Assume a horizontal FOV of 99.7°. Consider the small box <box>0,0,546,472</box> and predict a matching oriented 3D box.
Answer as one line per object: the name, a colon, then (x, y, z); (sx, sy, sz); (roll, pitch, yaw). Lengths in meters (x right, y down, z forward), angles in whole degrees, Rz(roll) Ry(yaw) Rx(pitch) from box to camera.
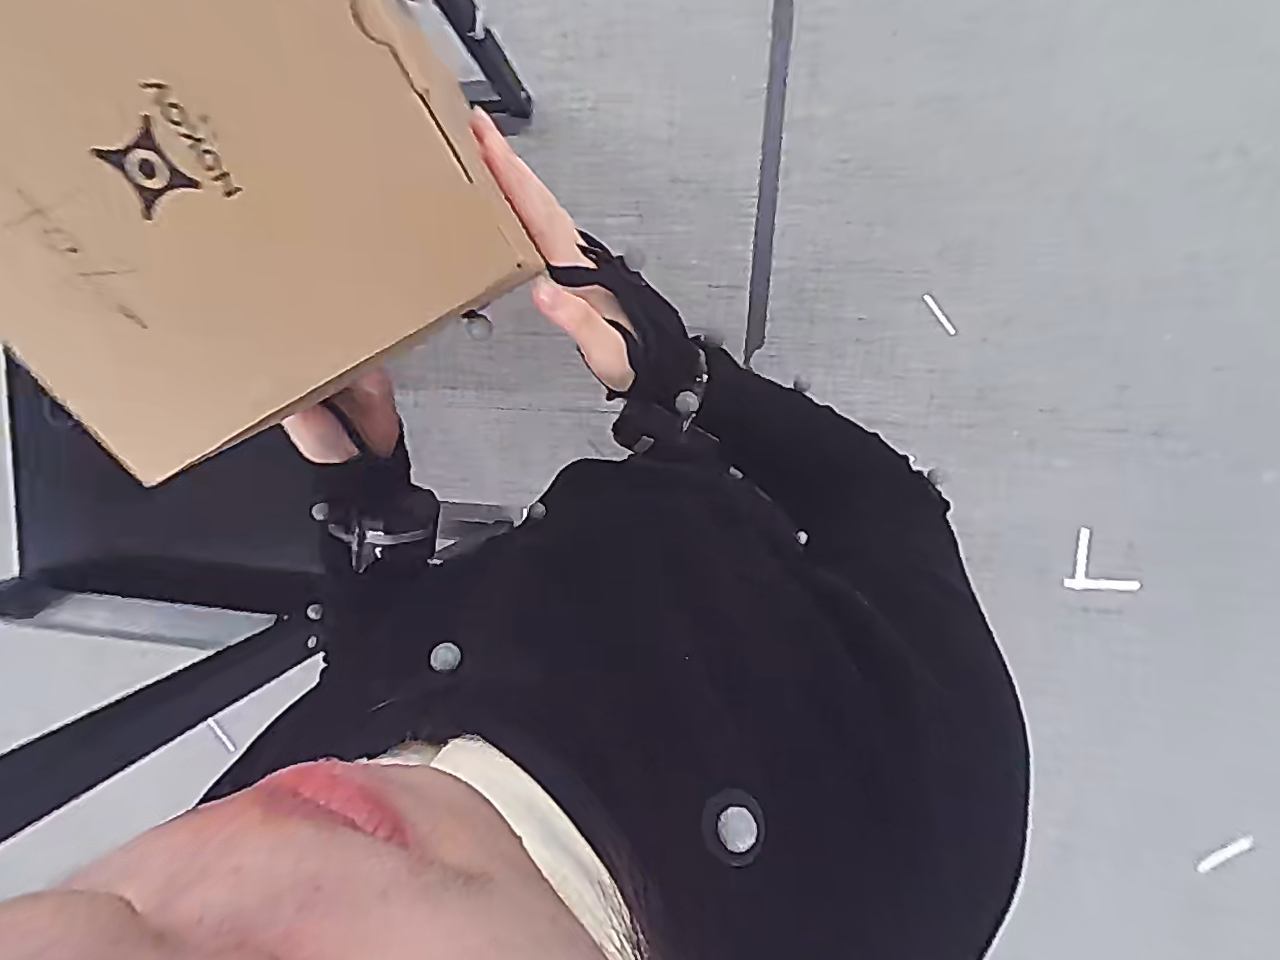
small box: (-0.155, -0.135, 0.246); (0.179, 0.176, 0.168); (-26, 110, 7)
